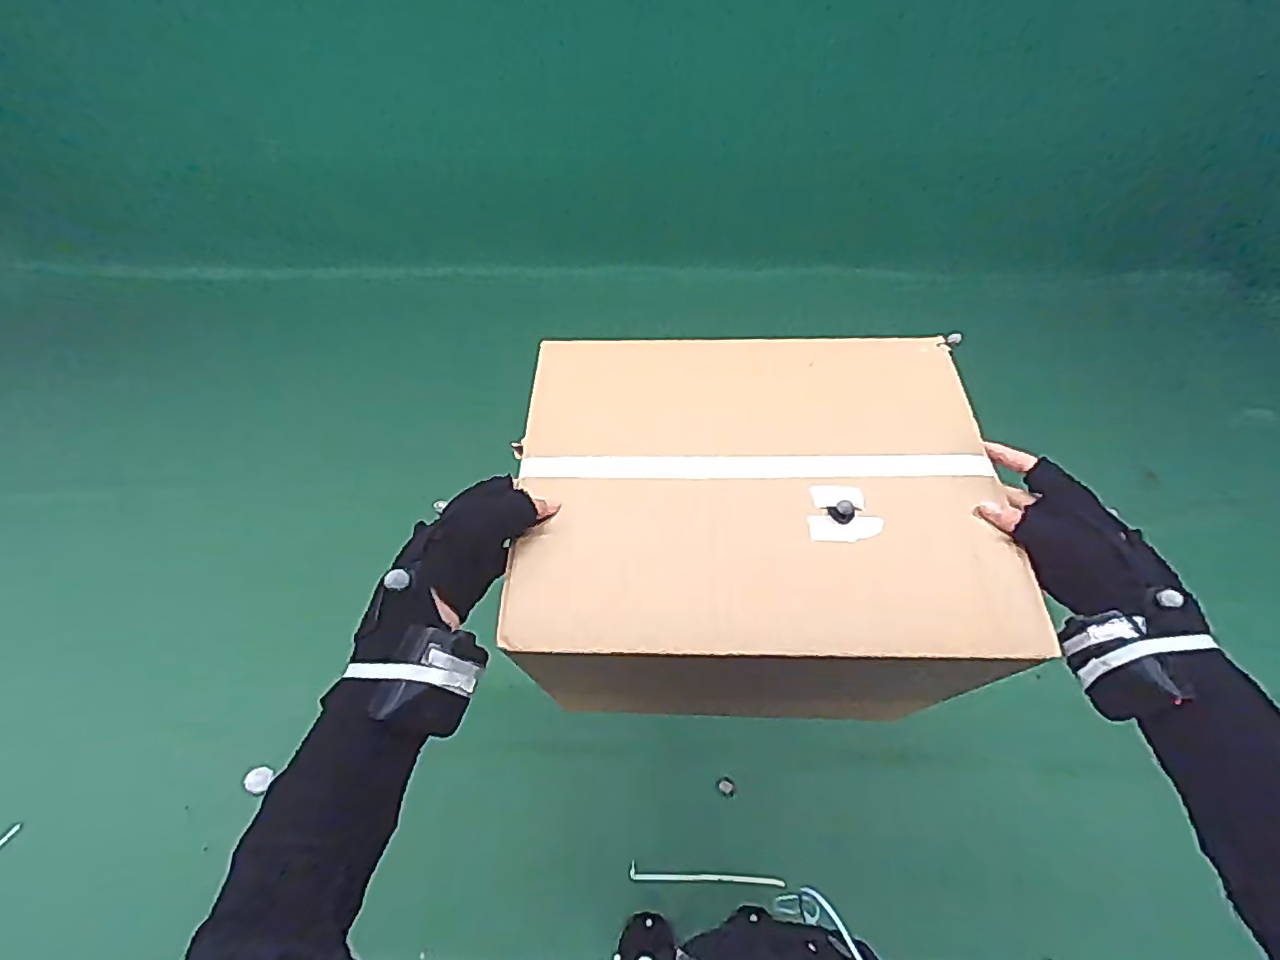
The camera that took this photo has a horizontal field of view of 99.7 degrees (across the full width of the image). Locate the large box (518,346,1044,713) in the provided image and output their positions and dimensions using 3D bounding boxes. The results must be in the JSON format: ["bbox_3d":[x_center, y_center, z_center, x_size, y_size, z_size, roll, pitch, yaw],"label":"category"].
[{"bbox_3d":[0.106,0.071,0.607,0.408,0.320,0.320,0,59,2],"label":"large box"}]
